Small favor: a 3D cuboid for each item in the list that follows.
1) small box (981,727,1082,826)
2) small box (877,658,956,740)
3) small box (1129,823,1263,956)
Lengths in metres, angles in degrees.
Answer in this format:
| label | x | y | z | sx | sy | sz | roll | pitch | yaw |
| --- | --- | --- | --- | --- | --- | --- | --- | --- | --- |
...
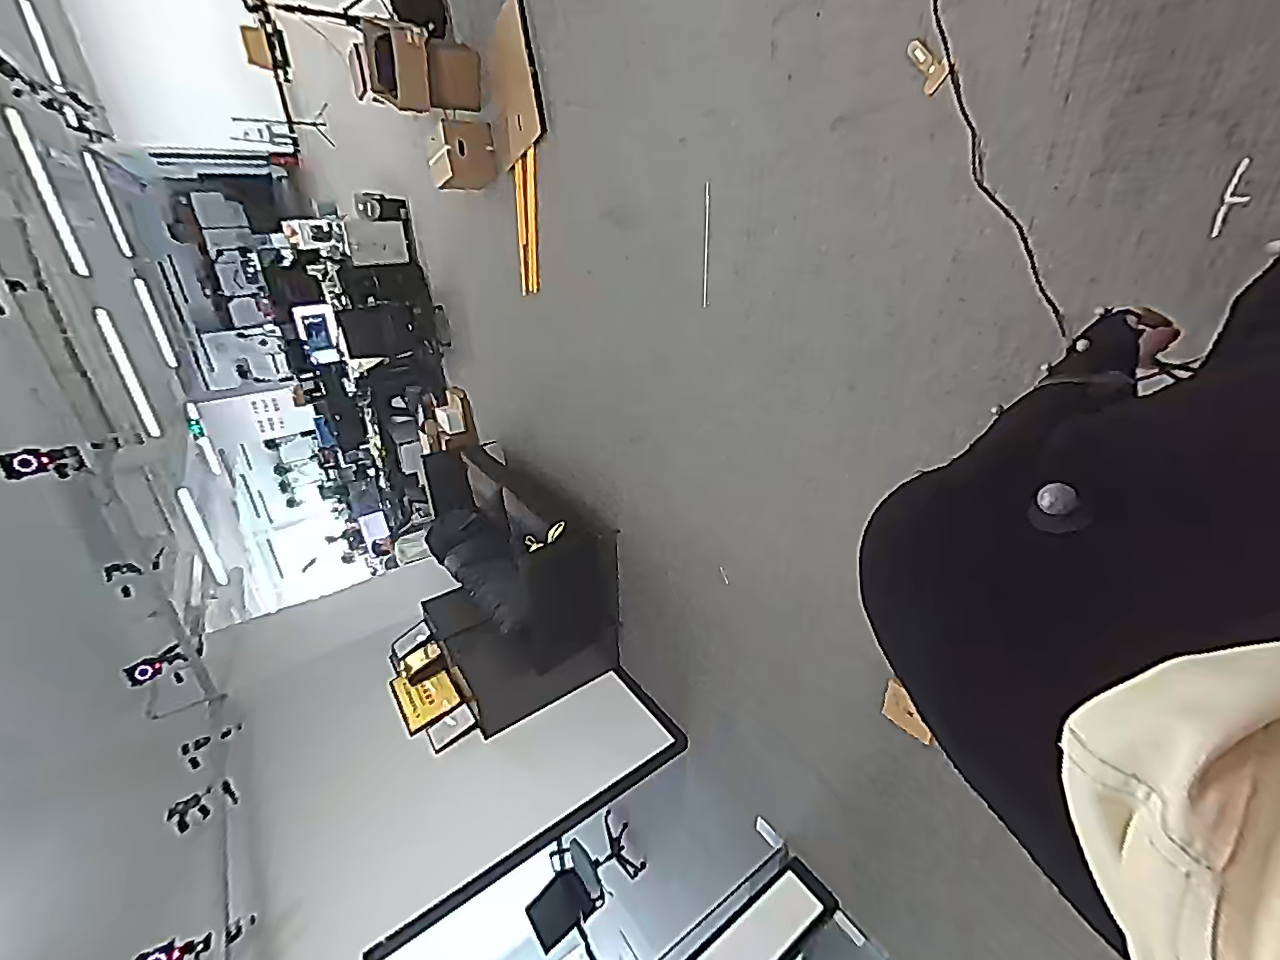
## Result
| label | x | y | z | sx | sy | sz | roll | pitch | yaw |
| --- | --- | --- | --- | --- | --- | --- | --- | --- | --- |
| small box | 1.181 | 0.883 | 1.636 | 0.179 | 0.176 | 0.168 | 31 | 132 | 46 |
| small box | 0.969 | 0.760 | 1.896 | 0.179 | 0.176 | 0.168 | 31 | 131 | 47 |
| small box | 1.404 | 1.024 | 1.365 | 0.179 | 0.176 | 0.168 | 34 | 133 | 44 |
